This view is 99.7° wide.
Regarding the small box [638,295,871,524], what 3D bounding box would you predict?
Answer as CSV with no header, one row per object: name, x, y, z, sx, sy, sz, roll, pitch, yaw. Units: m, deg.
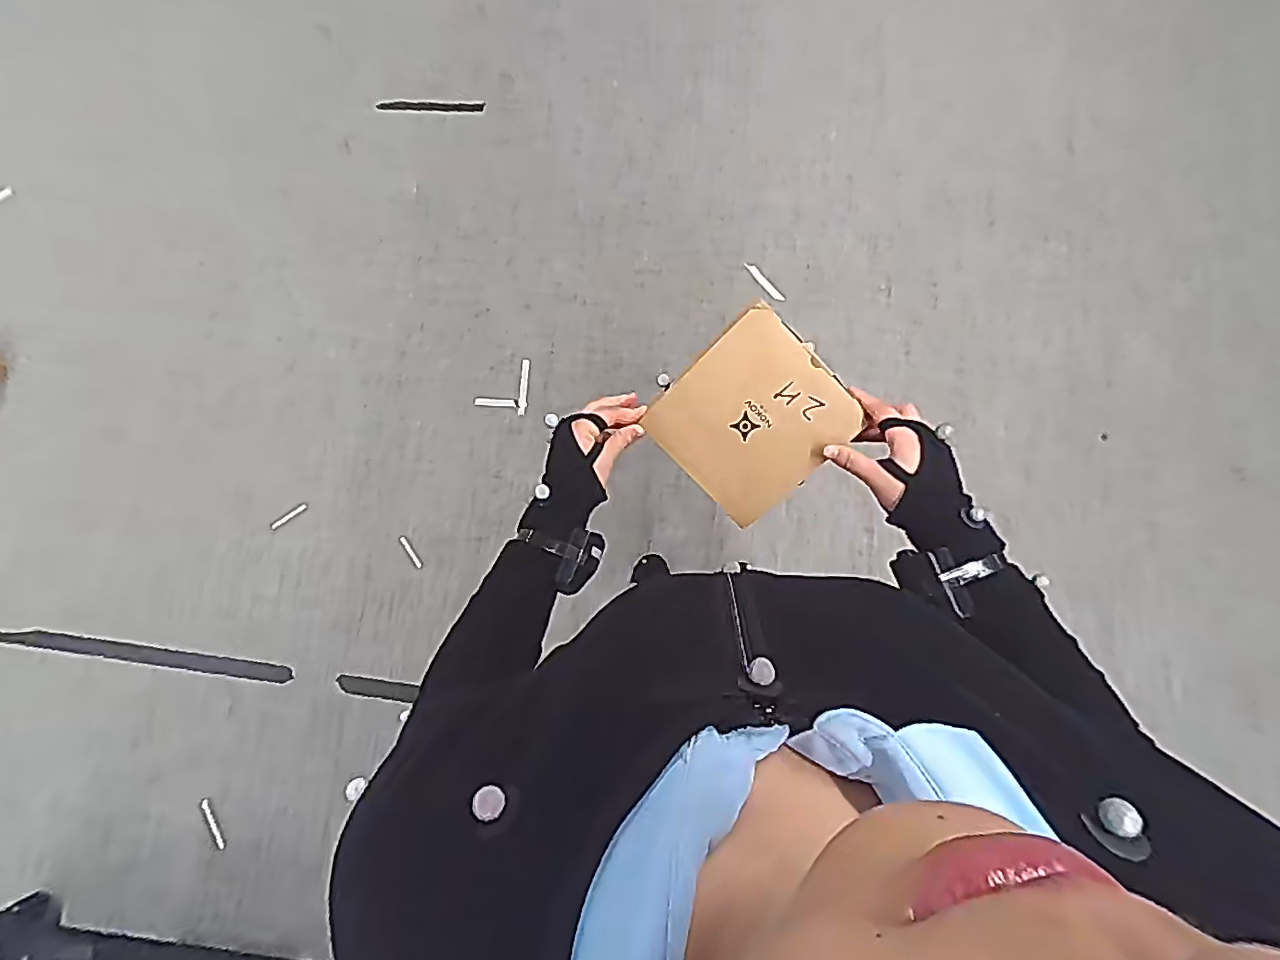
small box,0.123,-0.084,0.620,0.168,0.176,0.179,45,106,-6
